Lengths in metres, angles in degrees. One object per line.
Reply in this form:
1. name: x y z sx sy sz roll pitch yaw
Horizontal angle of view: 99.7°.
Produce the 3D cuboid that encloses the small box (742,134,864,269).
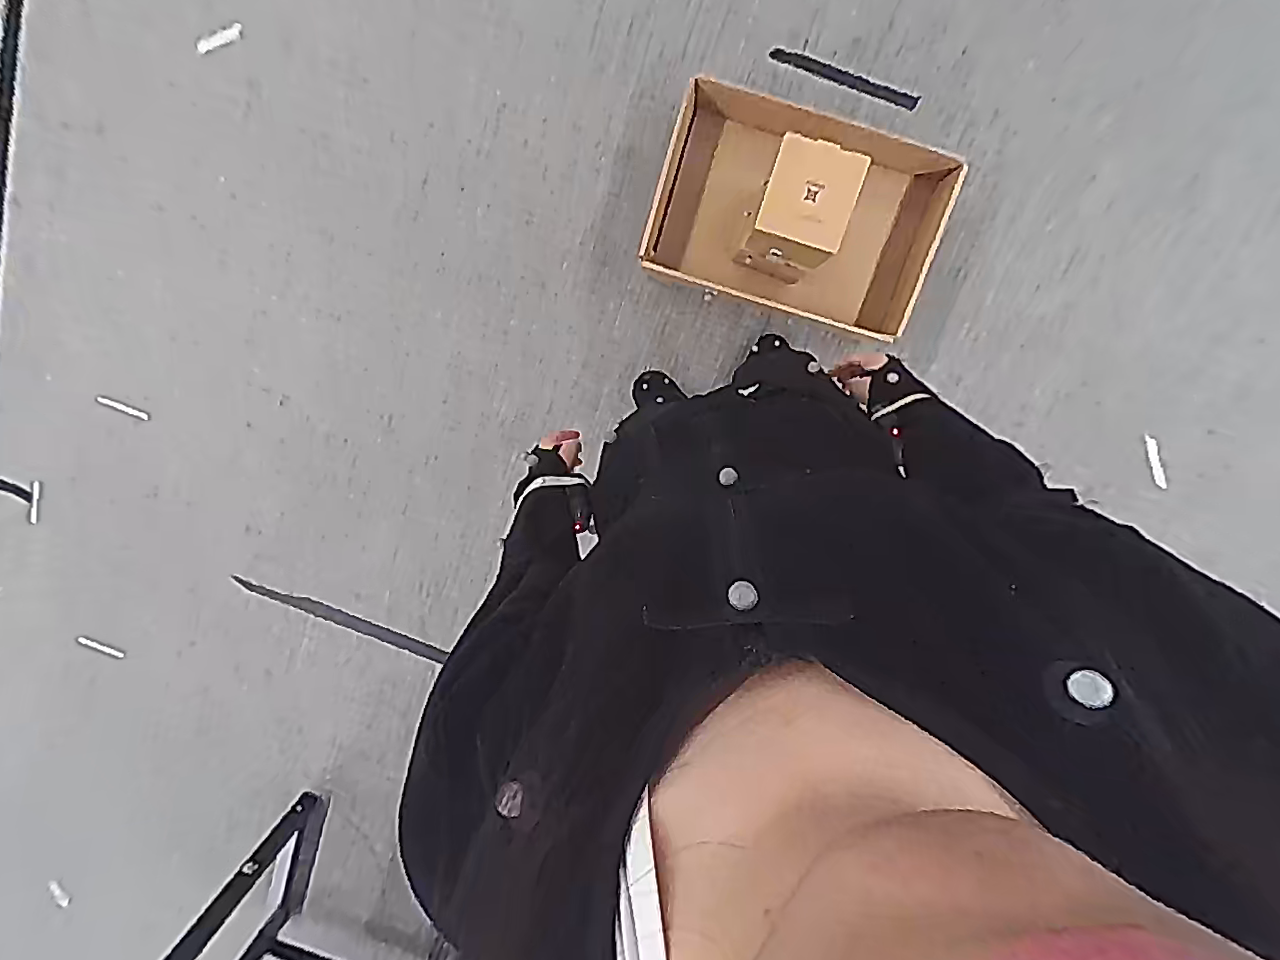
1. small box: 0.313 -0.545 1.081 0.168 0.176 0.179 17 103 0
